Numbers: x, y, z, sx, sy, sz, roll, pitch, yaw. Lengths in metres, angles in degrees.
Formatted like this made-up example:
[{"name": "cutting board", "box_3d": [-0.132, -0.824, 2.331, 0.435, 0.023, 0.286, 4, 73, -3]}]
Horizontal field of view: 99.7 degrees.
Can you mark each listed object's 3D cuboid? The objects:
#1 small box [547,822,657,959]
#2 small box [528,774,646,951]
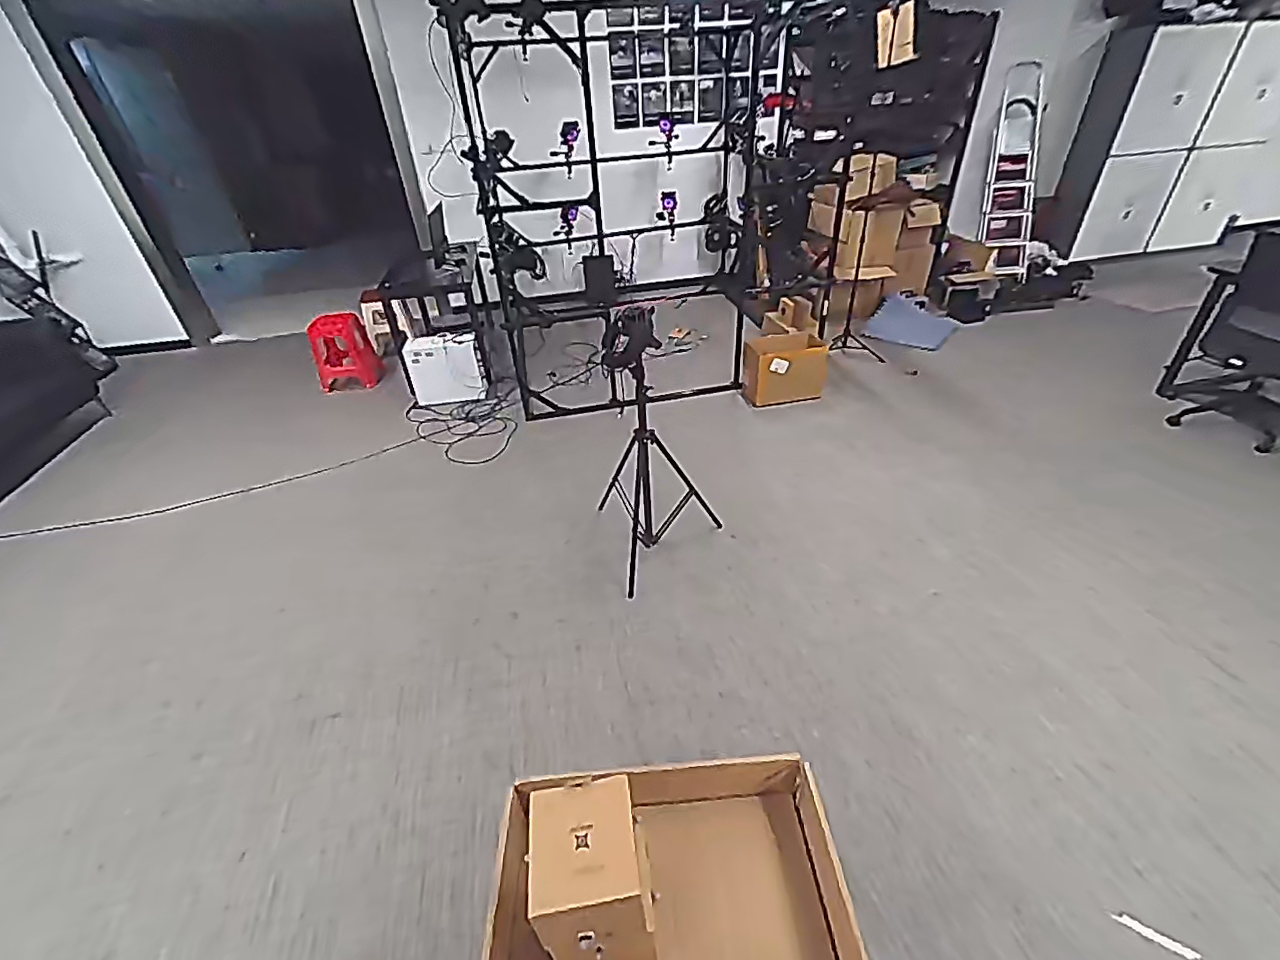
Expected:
[{"name": "small box", "box_3d": [-0.067, 0.756, 0.980, 0.179, 0.176, 0.168, -5, 36, -4]}, {"name": "small box", "box_3d": [-0.086, 0.623, 0.886, 0.168, 0.176, 0.179, -8, 35, -5]}]
